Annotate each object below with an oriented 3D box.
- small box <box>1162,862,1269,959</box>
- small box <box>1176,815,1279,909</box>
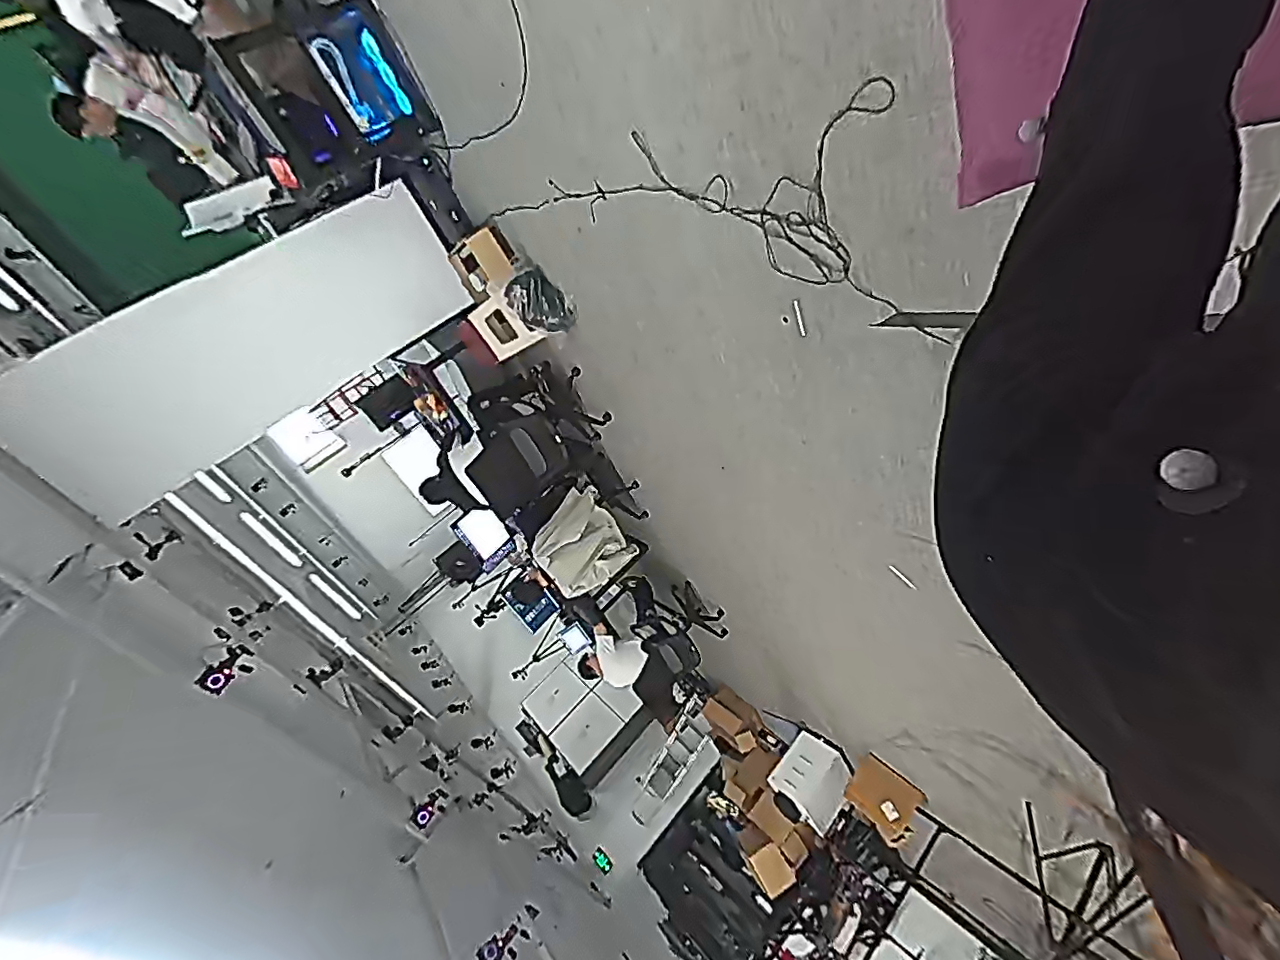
[{"bbox_3d":[1.633,1.244,1.537,0.168,0.176,0.179,20,144,49],"label":"small box"},{"bbox_3d":[1.746,1.147,1.604,0.179,0.176,0.168,21,145,51],"label":"small box"}]
